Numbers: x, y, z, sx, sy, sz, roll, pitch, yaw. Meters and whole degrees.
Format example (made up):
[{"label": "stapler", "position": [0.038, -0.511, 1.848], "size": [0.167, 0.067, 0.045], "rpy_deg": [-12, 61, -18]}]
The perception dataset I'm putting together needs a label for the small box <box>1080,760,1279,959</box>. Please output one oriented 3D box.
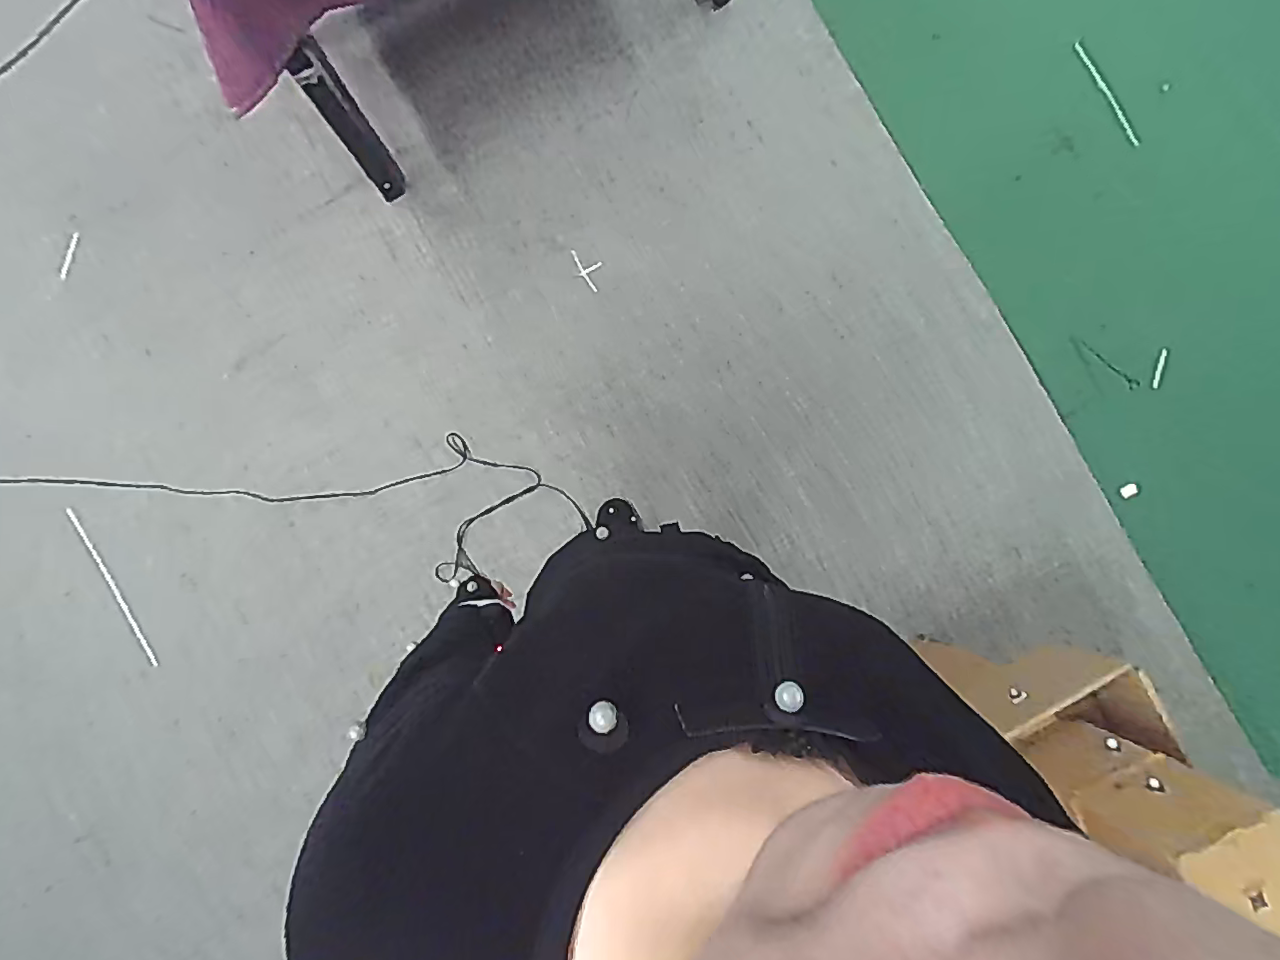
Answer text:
[{"label": "small box", "position": [0.802, 0.548, 0.780], "size": [0.168, 0.176, 0.179], "rpy_deg": [-22, 88, -3]}]
